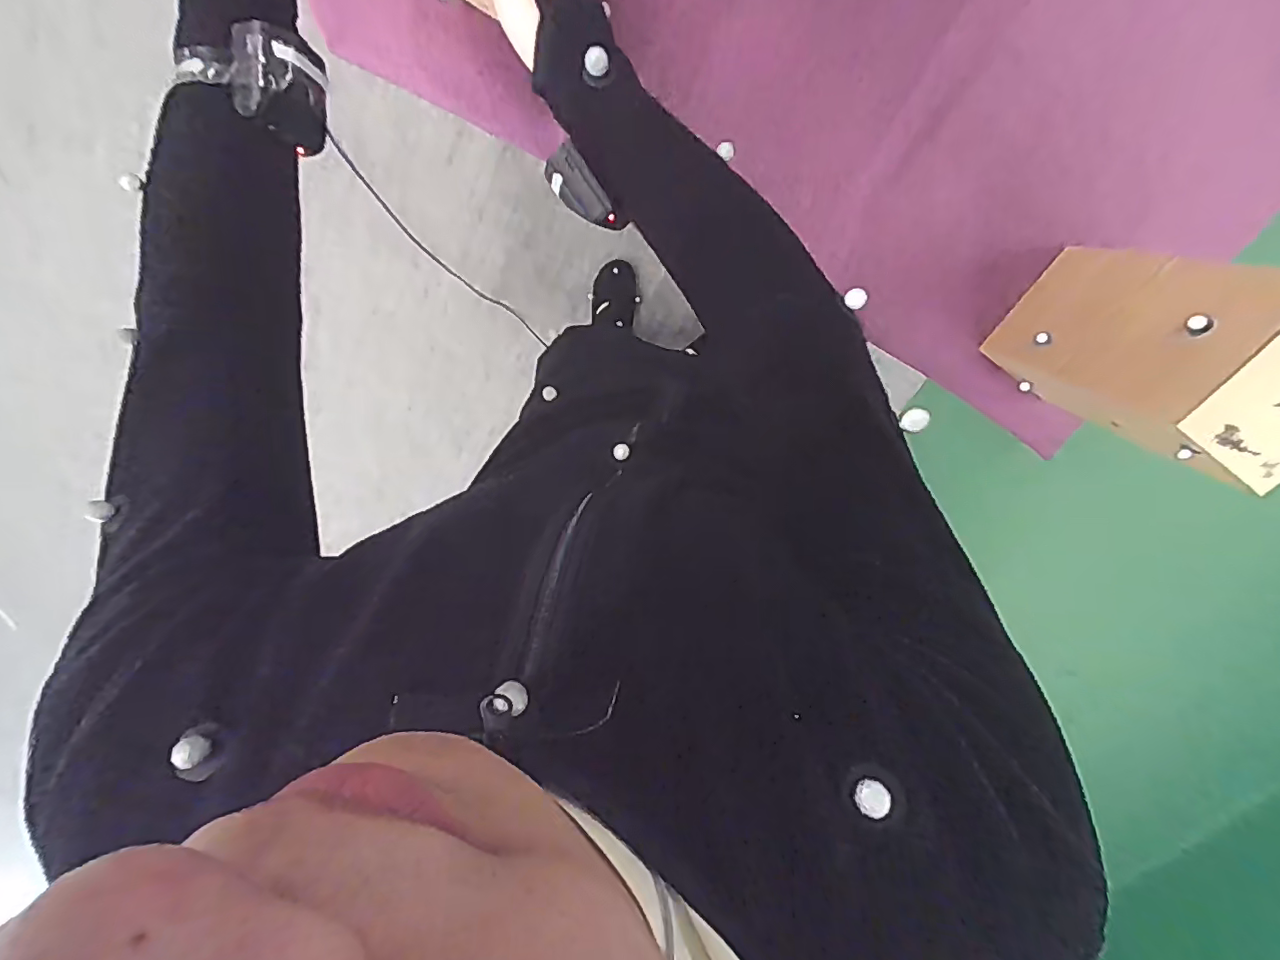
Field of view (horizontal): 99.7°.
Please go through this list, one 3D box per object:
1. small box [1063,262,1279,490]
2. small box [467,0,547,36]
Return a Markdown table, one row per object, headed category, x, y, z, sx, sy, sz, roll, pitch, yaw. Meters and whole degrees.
| category | x | y | z | sx | sy | sz | roll | pitch | yaw |
| --- | --- | --- | --- | --- | --- | --- | --- | --- | --- |
| small box | 0.649 | -0.126 | 0.612 | 0.168 | 0.176 | 0.179 | 28 | 111 | -16 |
| small box | -0.151 | -0.578 | 0.508 | 0.168 | 0.176 | 0.179 | 24 | 113 | -15 |
